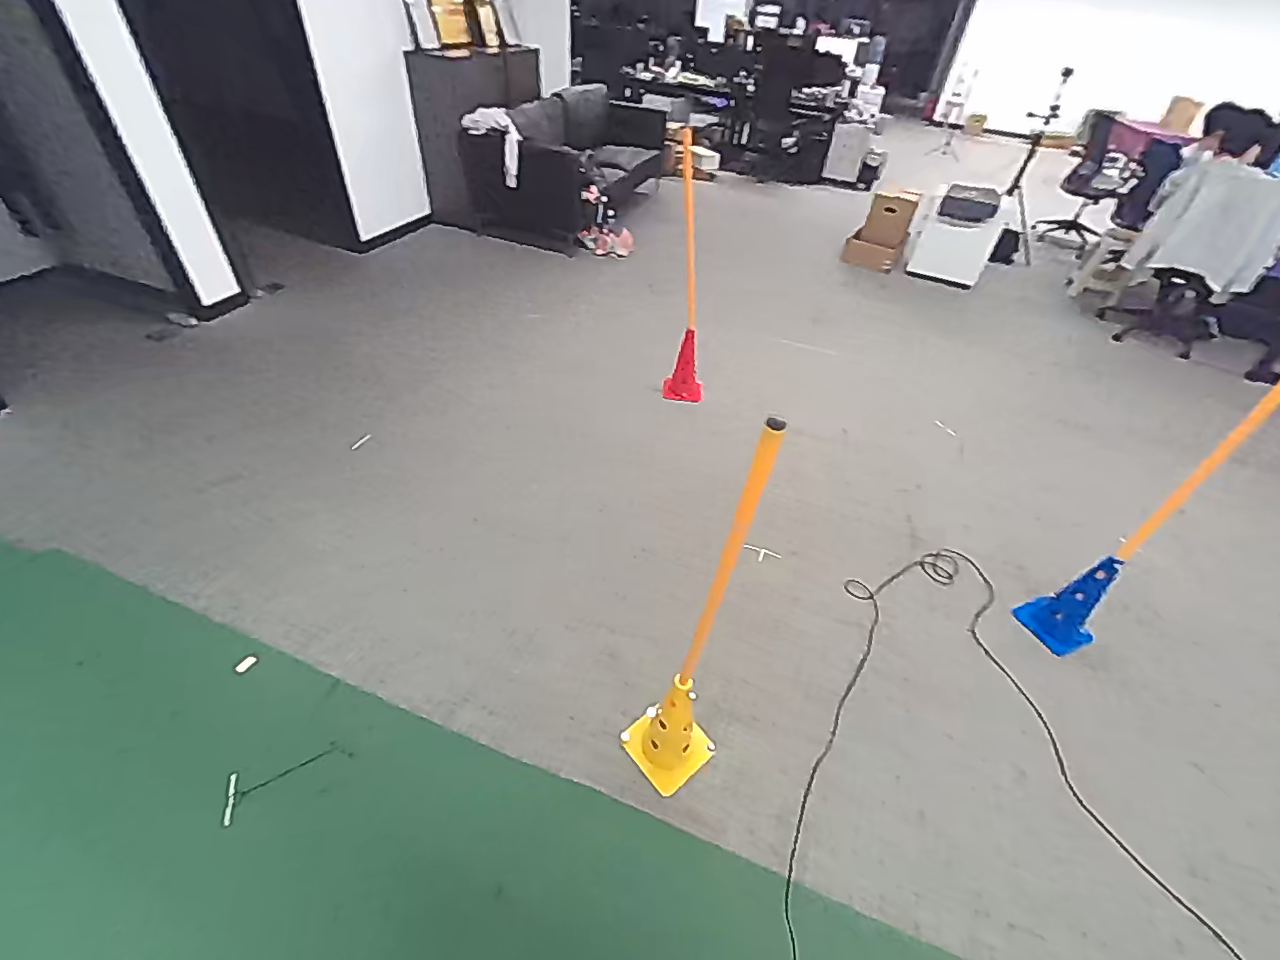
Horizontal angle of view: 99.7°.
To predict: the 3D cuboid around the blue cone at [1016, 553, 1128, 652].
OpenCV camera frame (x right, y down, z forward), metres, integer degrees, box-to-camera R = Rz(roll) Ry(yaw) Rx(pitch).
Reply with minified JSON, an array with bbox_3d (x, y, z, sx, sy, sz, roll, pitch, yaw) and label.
[{"bbox_3d":[1.448,0.373,1.778,0.193,0.380,0.192,-13,44,-23],"label":"blue cone"}]
